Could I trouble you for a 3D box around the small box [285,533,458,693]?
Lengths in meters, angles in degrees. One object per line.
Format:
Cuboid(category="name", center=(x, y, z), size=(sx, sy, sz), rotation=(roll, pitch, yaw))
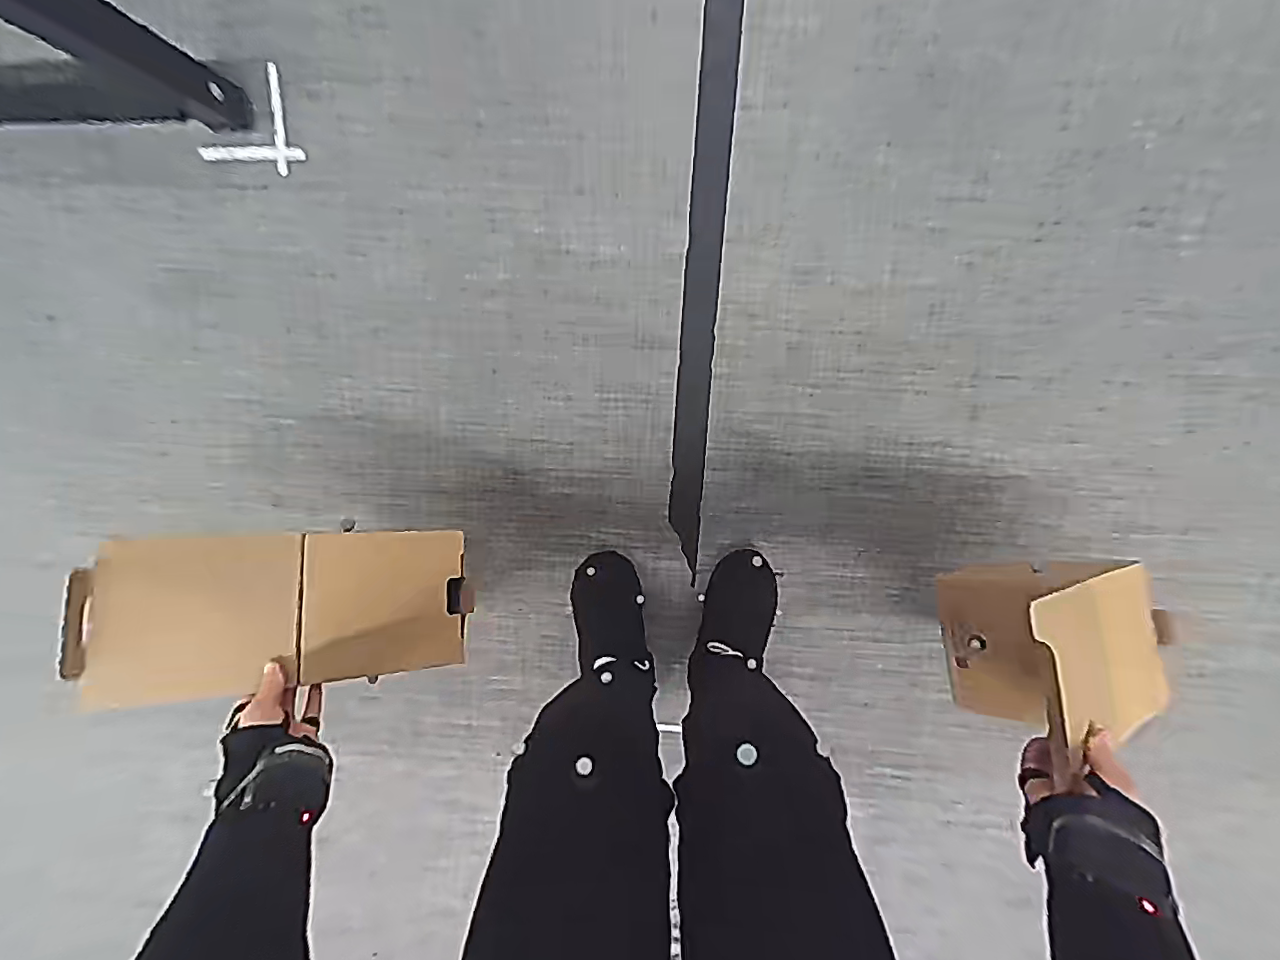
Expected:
Cuboid(category="small box", center=(-0.338, 0.157, 0.682), size=(0.179, 0.176, 0.168), rotation=(0, 81, -31))
